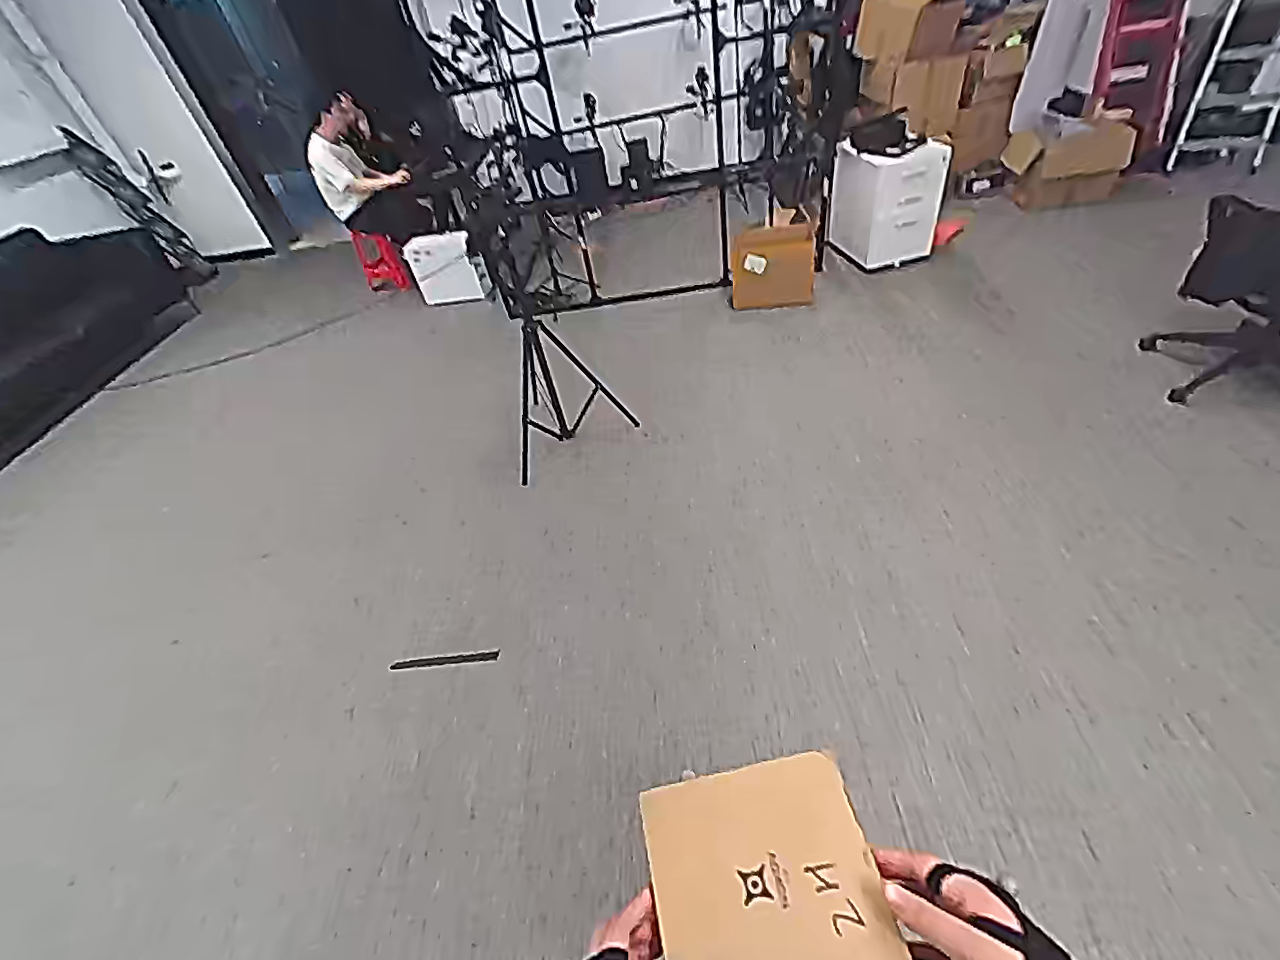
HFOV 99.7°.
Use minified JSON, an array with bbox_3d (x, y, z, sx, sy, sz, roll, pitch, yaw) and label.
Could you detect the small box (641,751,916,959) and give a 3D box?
[{"bbox_3d":[0.106,0.359,0.469,0.179,0.176,0.168,-11,50,-3],"label":"small box"}]
